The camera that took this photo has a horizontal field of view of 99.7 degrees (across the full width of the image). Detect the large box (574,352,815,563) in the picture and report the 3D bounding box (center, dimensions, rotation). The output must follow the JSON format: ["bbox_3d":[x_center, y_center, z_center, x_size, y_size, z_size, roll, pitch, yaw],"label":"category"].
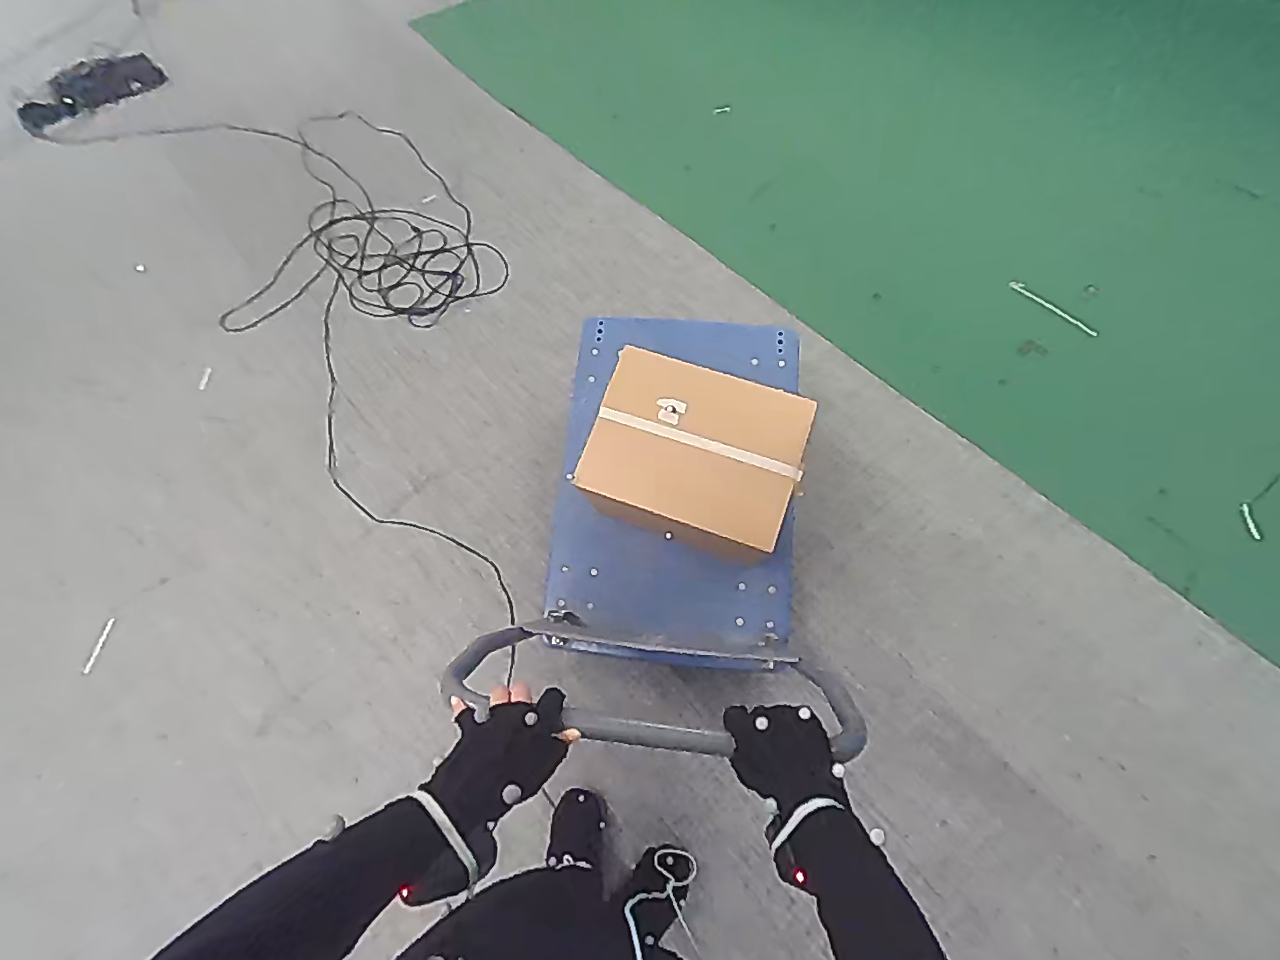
[{"bbox_3d":[0.121,-0.031,1.193,0.408,0.320,0.320,19,78,10],"label":"large box"}]
